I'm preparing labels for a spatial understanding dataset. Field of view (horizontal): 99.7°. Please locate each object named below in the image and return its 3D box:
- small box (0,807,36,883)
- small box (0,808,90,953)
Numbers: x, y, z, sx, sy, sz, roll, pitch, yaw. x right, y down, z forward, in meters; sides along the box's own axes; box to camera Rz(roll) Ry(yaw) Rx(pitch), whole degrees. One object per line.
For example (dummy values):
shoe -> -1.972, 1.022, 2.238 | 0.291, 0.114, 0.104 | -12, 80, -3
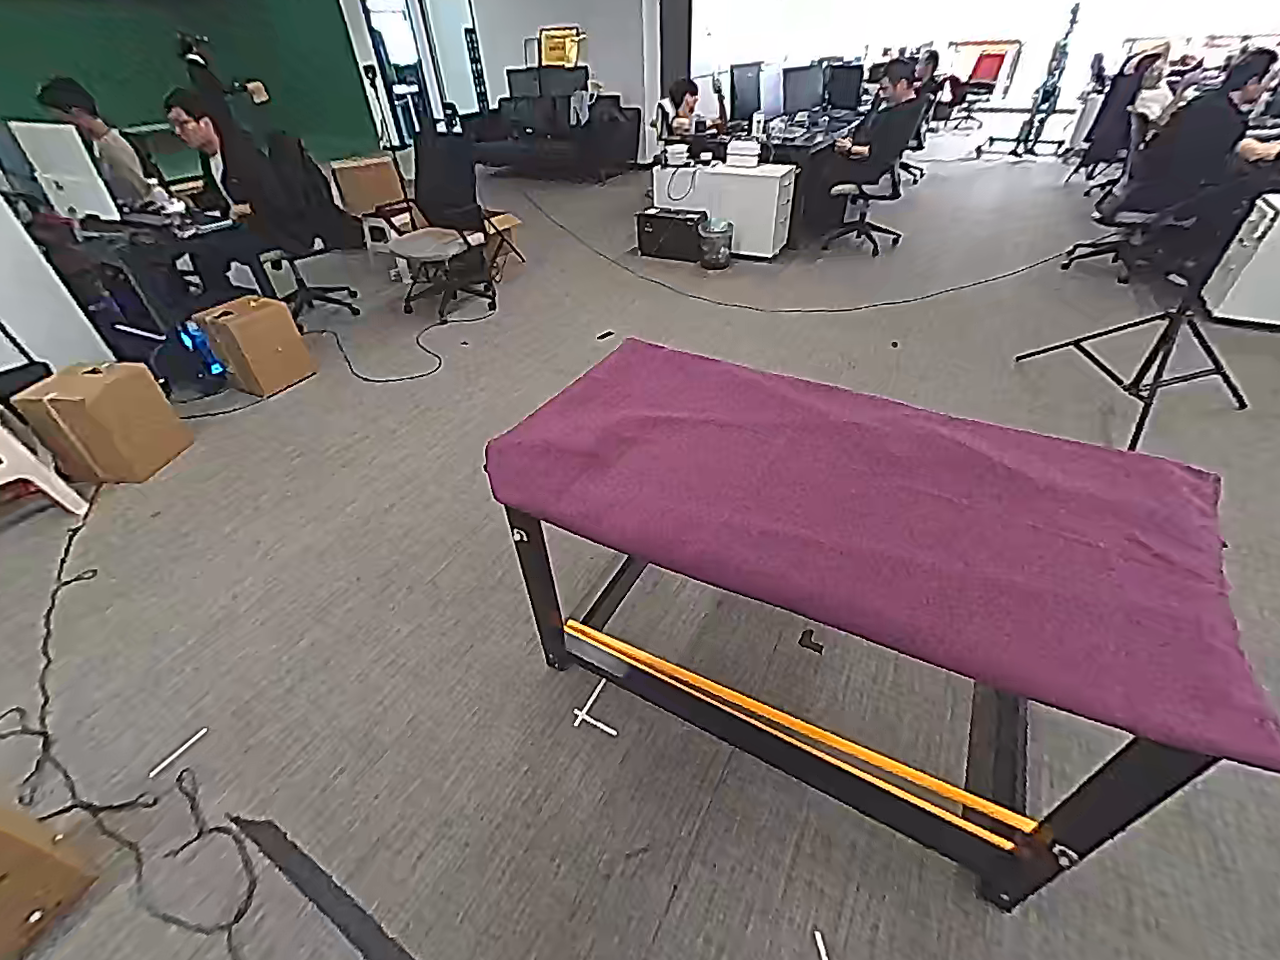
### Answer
small box -> -1.331, 0.708, 1.021 | 0.179, 0.176, 0.168 | 18, 44, 22
small box -> -1.327, 0.836, 1.126 | 0.179, 0.176, 0.168 | 19, 44, 23
